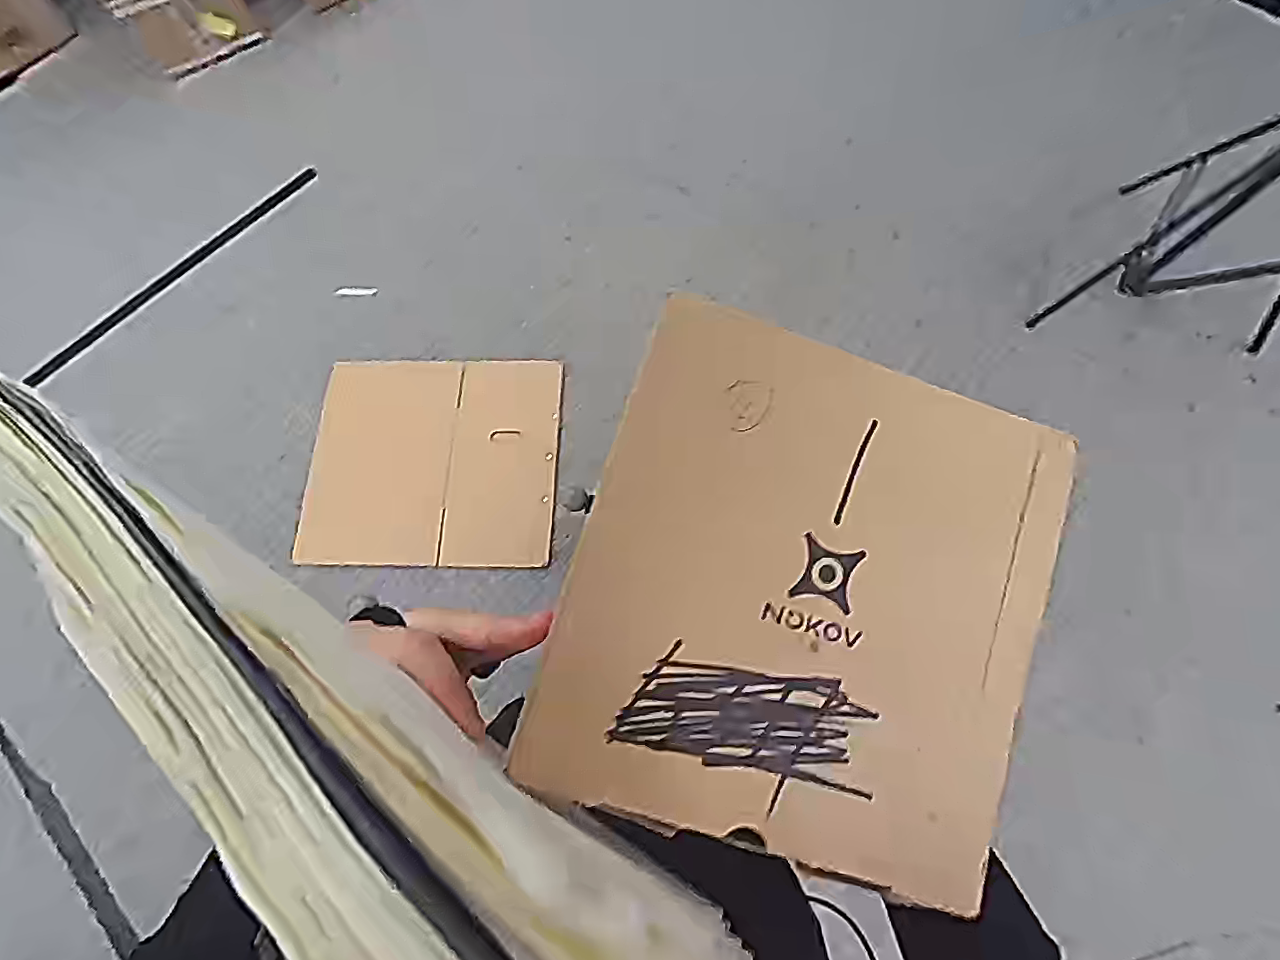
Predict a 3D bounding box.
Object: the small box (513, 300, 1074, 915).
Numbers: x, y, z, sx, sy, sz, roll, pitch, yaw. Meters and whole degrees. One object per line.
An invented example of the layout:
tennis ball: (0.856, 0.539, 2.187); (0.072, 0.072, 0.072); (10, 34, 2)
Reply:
small box: (0.052, 0.049, 0.267); (0.168, 0.176, 0.179); (18, 83, -6)
